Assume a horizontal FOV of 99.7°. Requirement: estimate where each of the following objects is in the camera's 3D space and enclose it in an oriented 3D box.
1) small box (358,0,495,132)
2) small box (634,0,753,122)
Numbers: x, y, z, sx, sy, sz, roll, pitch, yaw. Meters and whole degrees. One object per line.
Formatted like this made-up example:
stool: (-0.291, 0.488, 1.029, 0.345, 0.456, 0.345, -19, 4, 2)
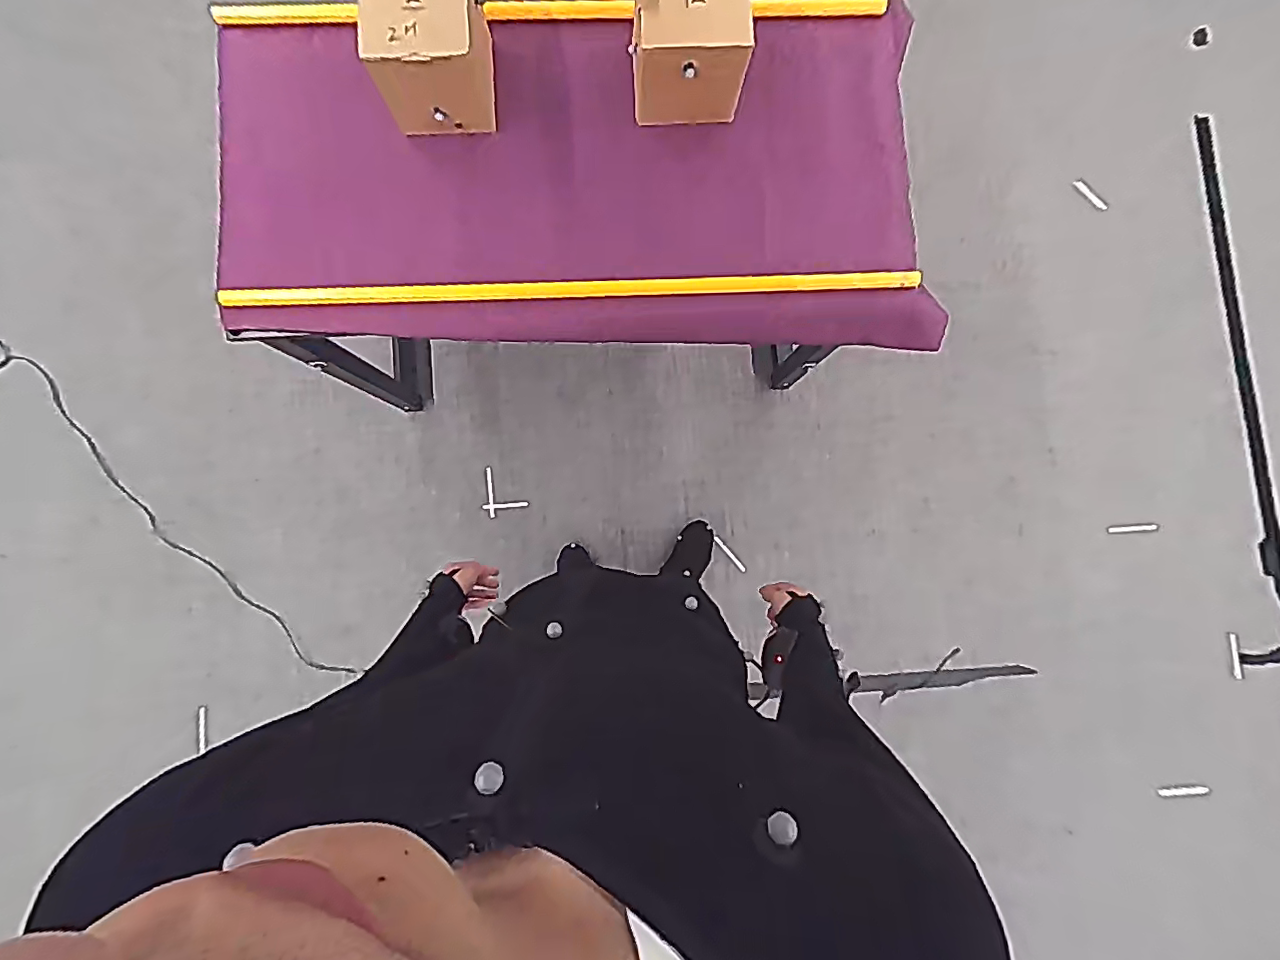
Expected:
small box: (-0.341, -0.713, 0.889, 0.168, 0.176, 0.179, -3, 88, -2)
small box: (0.081, -0.734, 0.904, 0.179, 0.176, 0.168, -3, 87, -1)
